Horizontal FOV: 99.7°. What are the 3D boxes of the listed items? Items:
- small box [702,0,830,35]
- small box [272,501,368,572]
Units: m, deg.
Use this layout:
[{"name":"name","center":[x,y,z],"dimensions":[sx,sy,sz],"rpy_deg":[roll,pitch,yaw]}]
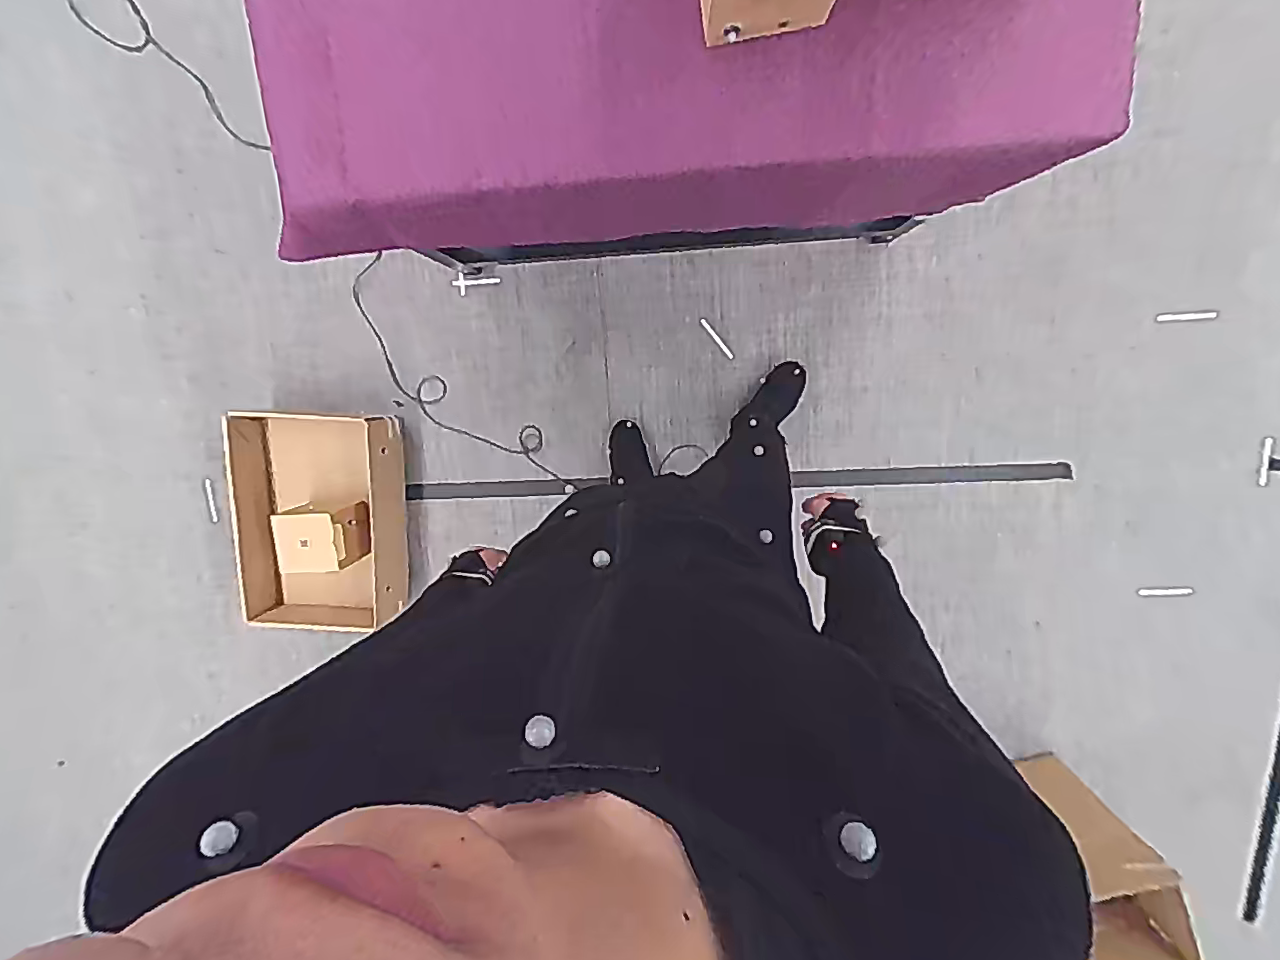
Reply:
[{"name":"small box","center":[0.157,-0.680,0.649],"dimensions":[0.168,0.176,0.179],"rpy_deg":[-8,100,4]},{"name":"small box","center":[-0.904,0.157,1.551],"dimensions":[0.179,0.176,0.168],"rpy_deg":[-2,100,3]}]
